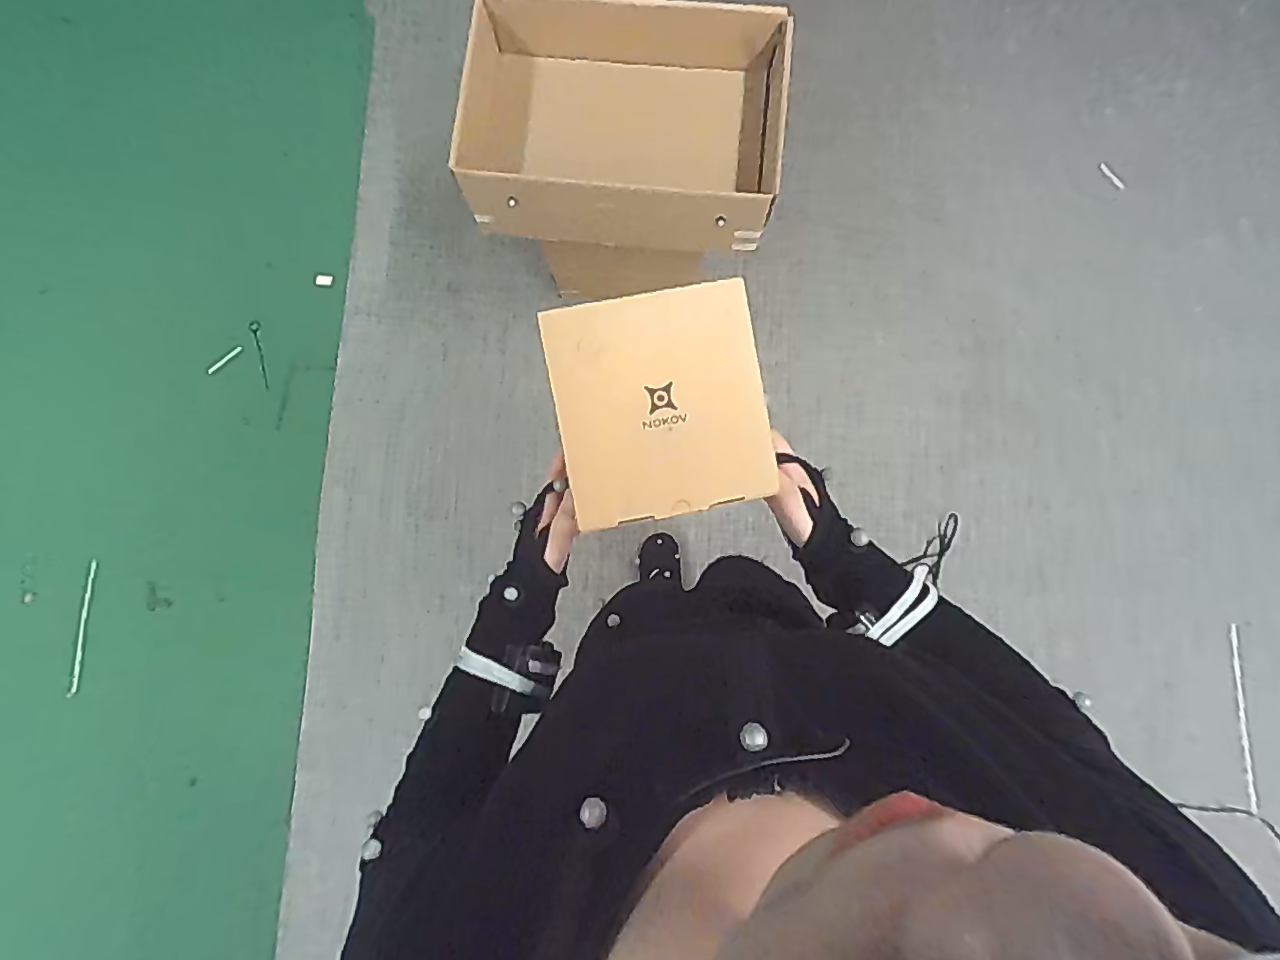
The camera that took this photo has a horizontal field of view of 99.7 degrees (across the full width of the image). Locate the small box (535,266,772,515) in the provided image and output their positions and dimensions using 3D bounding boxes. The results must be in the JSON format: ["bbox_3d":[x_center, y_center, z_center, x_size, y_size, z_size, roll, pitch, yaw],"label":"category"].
[{"bbox_3d":[0.006,-0.072,0.502,0.168,0.176,0.179,-11,93,-3],"label":"small box"}]
